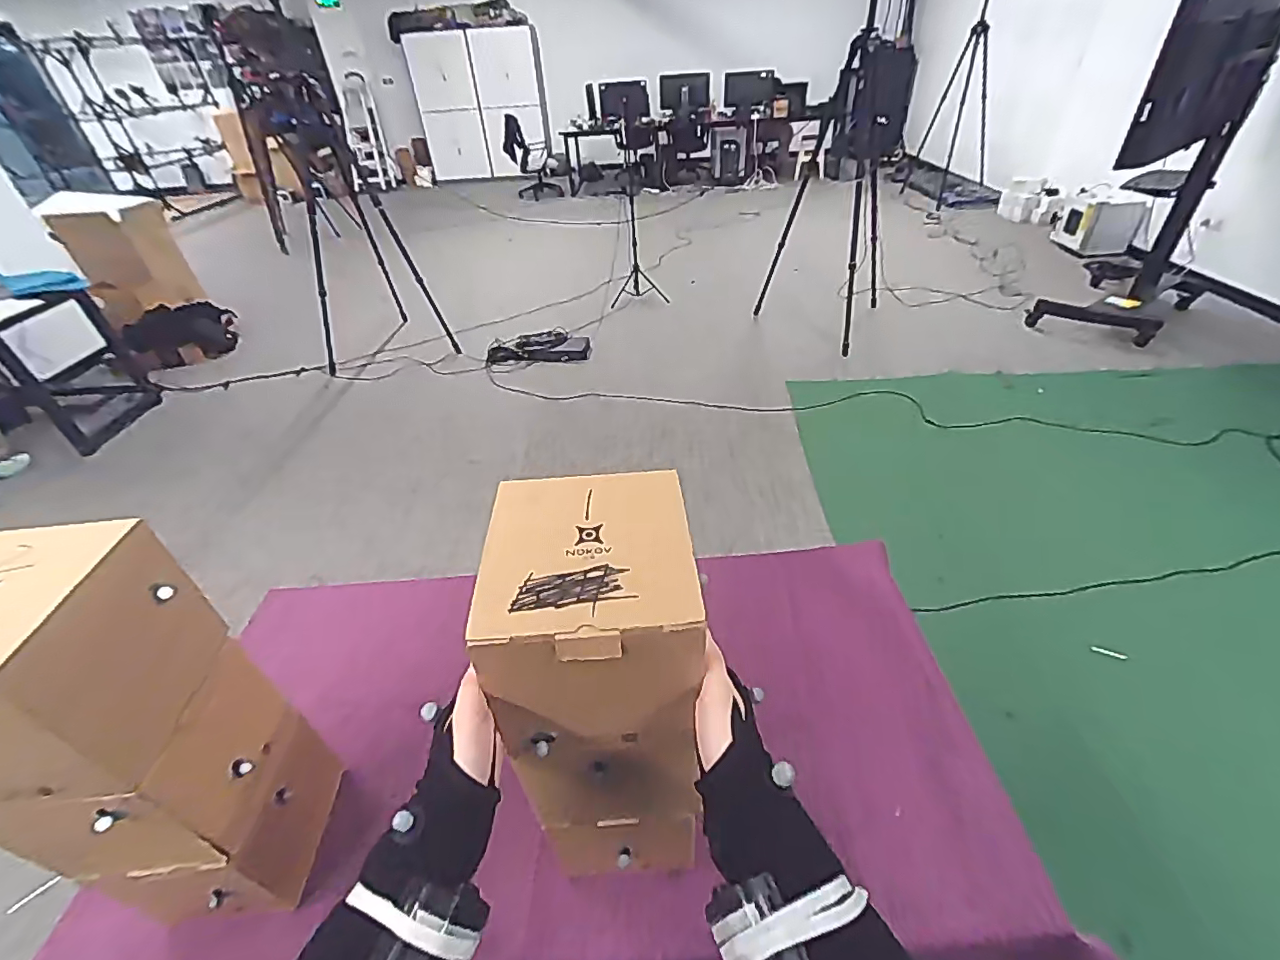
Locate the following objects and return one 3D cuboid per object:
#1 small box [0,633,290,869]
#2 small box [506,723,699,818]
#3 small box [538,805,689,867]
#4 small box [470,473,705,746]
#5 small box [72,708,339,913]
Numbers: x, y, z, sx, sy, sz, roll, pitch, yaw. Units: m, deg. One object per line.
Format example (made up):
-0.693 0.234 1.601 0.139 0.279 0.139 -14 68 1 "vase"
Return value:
-0.526 0.289 0.579 0.179 0.176 0.168 -5 39 -3 "small box"
-0.031 0.245 0.587 0.179 0.176 0.168 -4 39 0 "small box"
-0.026 0.373 0.692 0.168 0.176 0.179 -3 39 0 "small box"
-0.037 0.116 0.479 0.168 0.176 0.179 -3 38 -2 "small box"
-0.514 0.416 0.679 0.168 0.176 0.179 -4 38 -1 "small box"
